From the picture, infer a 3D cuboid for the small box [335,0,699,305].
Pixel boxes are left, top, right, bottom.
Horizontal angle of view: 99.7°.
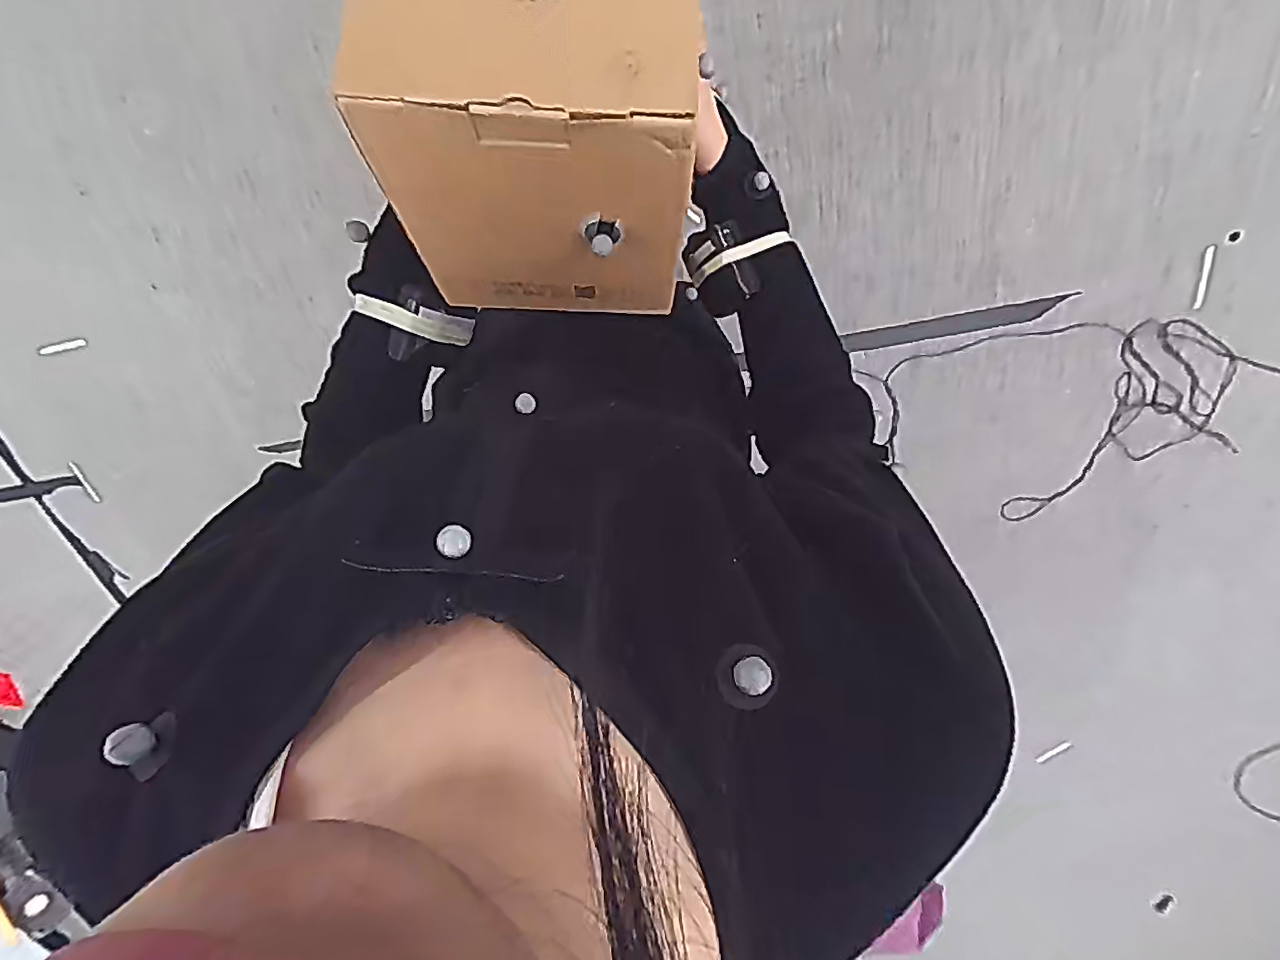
[{"bbox_3d":[-0.054,-0.229,0.337,0.168,0.176,0.179,2,75,-2],"label":"small box"}]
